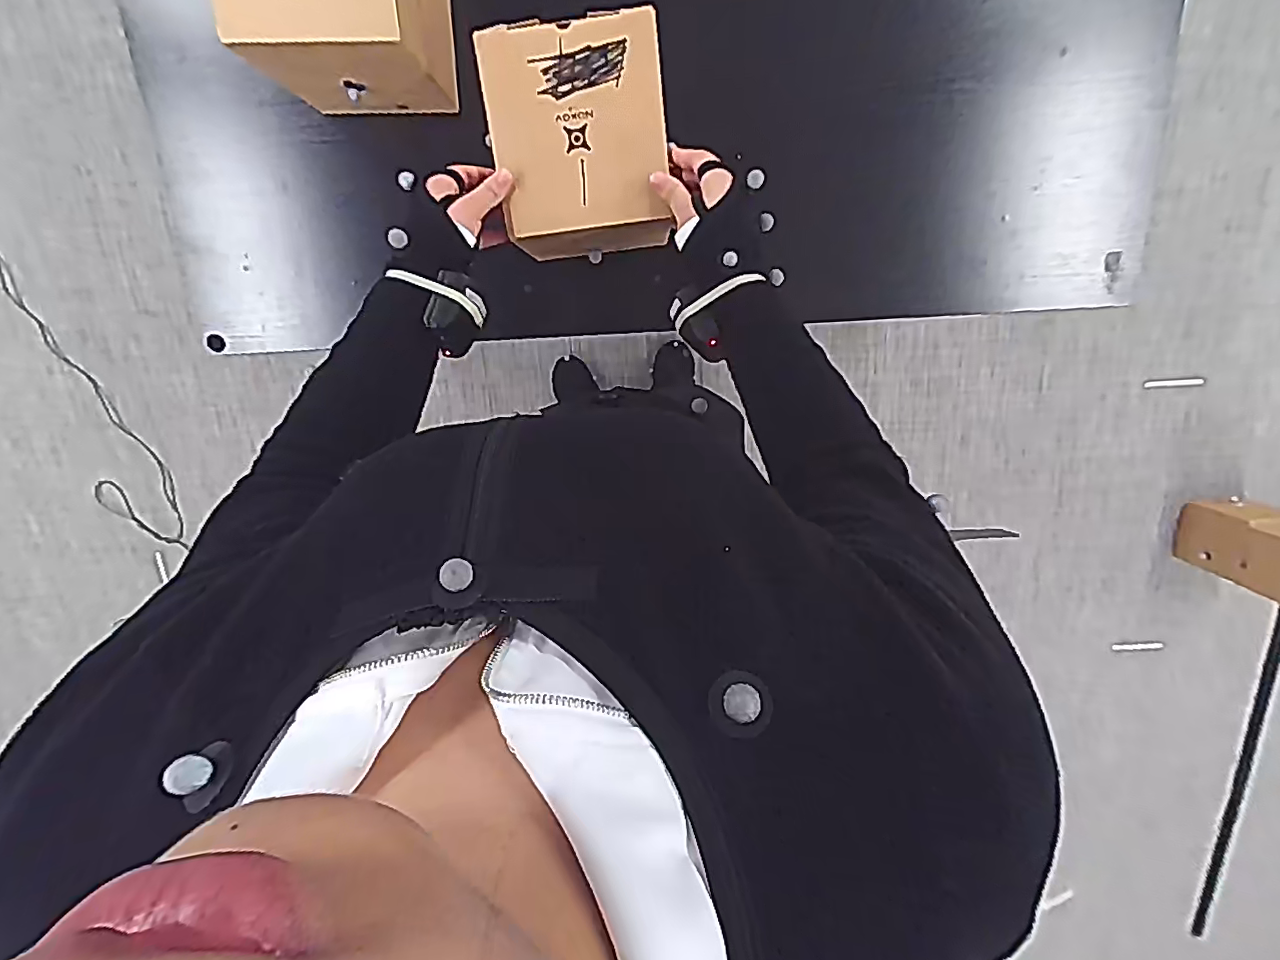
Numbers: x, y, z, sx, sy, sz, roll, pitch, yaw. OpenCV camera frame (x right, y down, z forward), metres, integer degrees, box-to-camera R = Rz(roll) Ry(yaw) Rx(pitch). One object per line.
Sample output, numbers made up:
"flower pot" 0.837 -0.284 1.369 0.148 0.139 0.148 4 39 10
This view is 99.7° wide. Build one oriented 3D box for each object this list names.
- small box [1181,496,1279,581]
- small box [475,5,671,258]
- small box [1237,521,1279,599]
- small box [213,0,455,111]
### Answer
"small box" 1.622 0.154 1.453 0.168 0.176 0.179 -4 104 1
"small box" -0.060 -0.351 0.581 0.168 0.176 0.179 -7 105 2
"small box" 1.620 0.199 1.295 0.179 0.176 0.168 -6 105 1
"small box" -0.297 -0.497 0.544 0.168 0.176 0.179 -1 105 0
